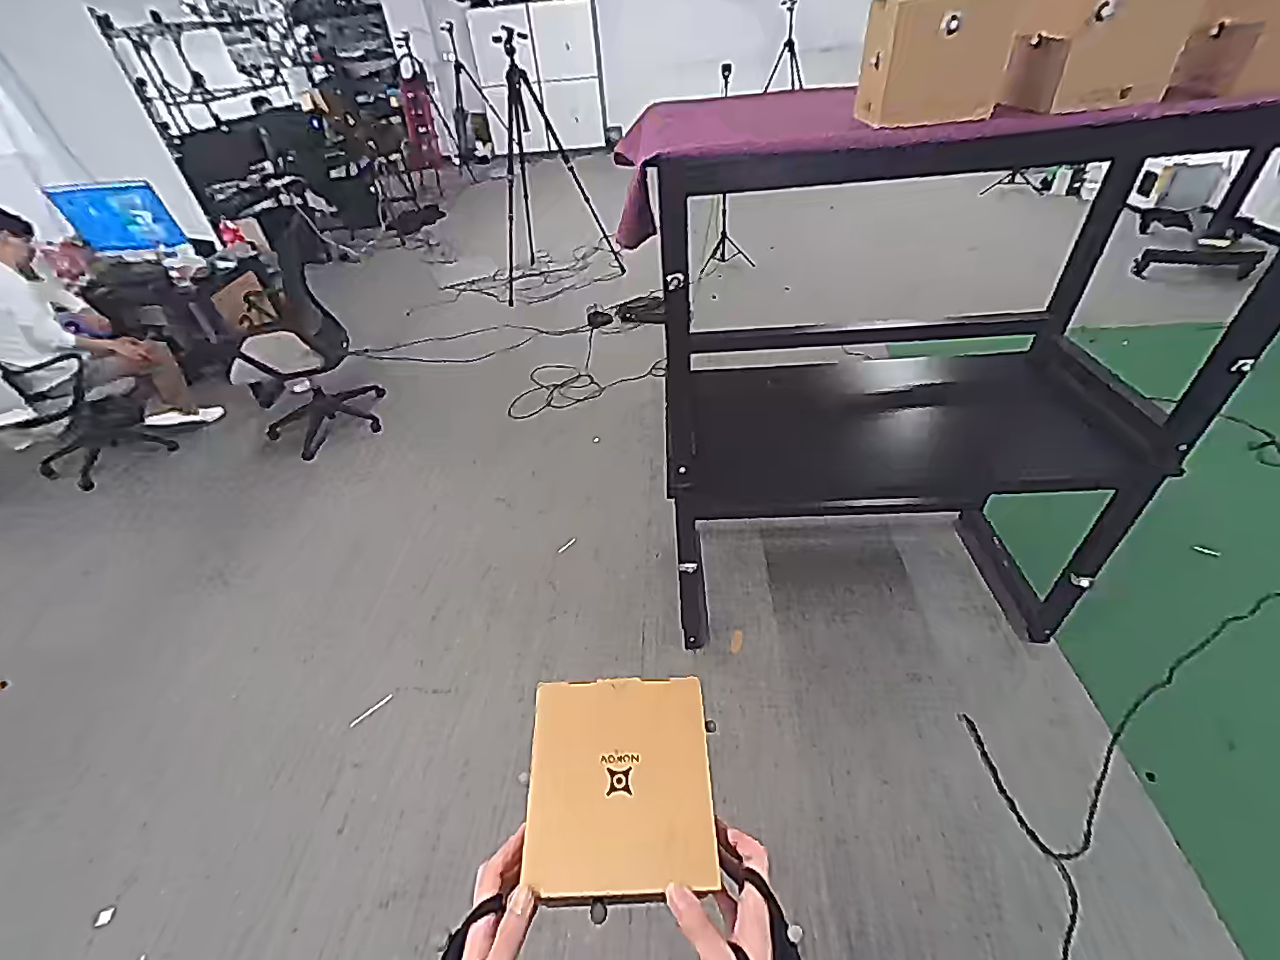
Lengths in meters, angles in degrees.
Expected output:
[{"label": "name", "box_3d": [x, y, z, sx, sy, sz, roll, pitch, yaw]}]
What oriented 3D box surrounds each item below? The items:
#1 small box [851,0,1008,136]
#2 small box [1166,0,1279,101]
[{"label": "small box", "box_3d": [0.449, -0.667, 0.871, 0.179, 0.176, 0.168, 0, 40, 7]}, {"label": "small box", "box_3d": [0.973, -0.699, 0.830, 0.179, 0.176, 0.168, -1, 42, 8]}]
